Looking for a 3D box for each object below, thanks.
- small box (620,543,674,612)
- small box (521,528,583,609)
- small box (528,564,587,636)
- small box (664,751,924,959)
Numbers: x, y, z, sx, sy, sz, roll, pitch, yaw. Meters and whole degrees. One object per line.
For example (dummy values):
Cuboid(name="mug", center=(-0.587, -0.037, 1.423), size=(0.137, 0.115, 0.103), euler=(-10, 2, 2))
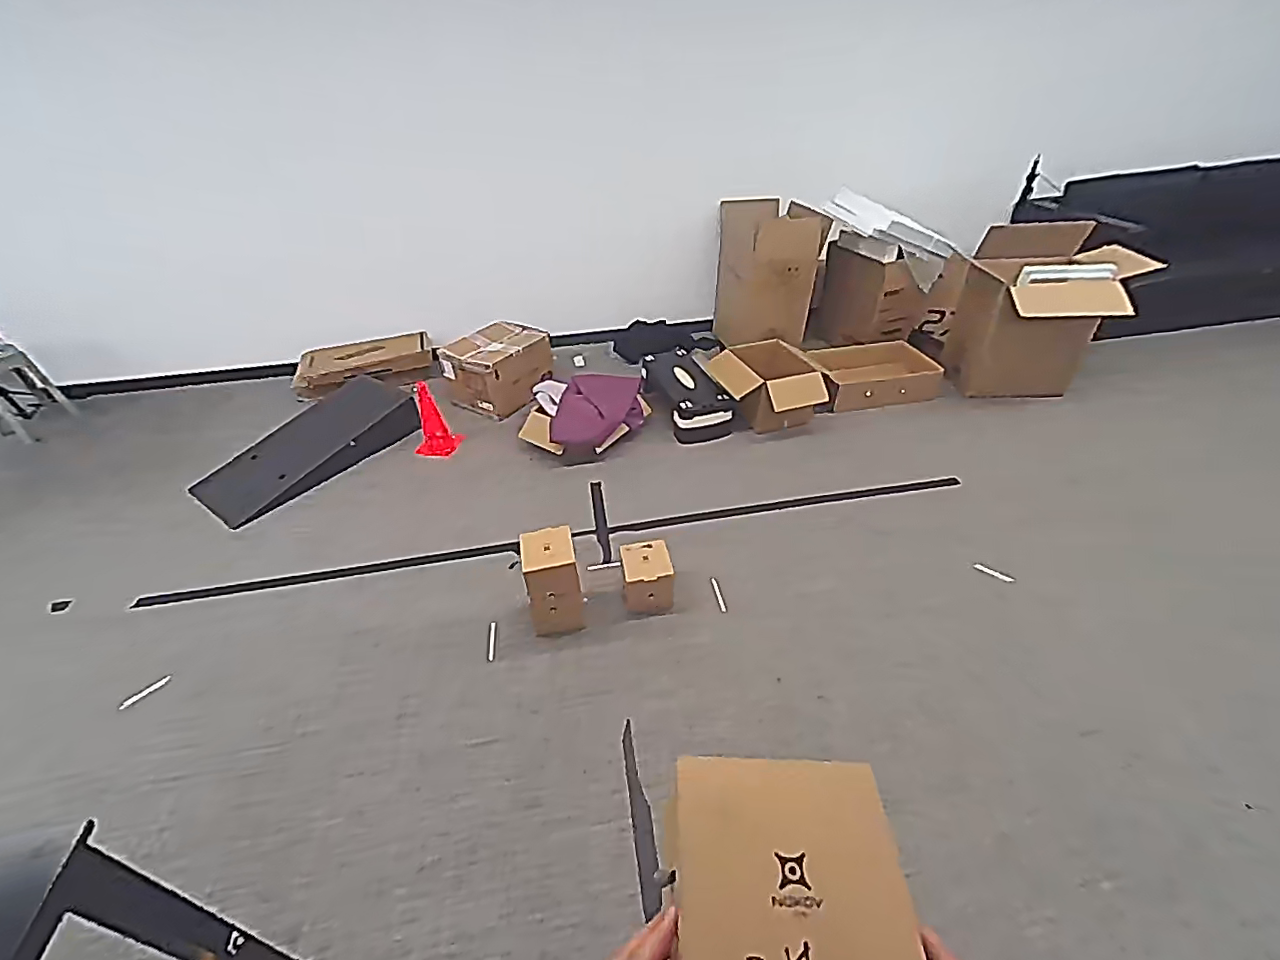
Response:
Cuboid(name="small box", center=(0.024, 0.352, 1.919), size=(0.168, 0.176, 0.179), euler=(-8, 38, -6))
Cuboid(name="small box", center=(-0.286, 0.288, 1.755), size=(0.168, 0.176, 0.179), euler=(-12, 40, -8))
Cuboid(name="small box", center=(-0.283, 0.415, 1.856), size=(0.179, 0.176, 0.168), euler=(-9, 38, -8))
Cuboid(name="small box", center=(0.107, 0.351, 0.445), size=(0.168, 0.176, 0.179), euler=(2, 41, 0))
